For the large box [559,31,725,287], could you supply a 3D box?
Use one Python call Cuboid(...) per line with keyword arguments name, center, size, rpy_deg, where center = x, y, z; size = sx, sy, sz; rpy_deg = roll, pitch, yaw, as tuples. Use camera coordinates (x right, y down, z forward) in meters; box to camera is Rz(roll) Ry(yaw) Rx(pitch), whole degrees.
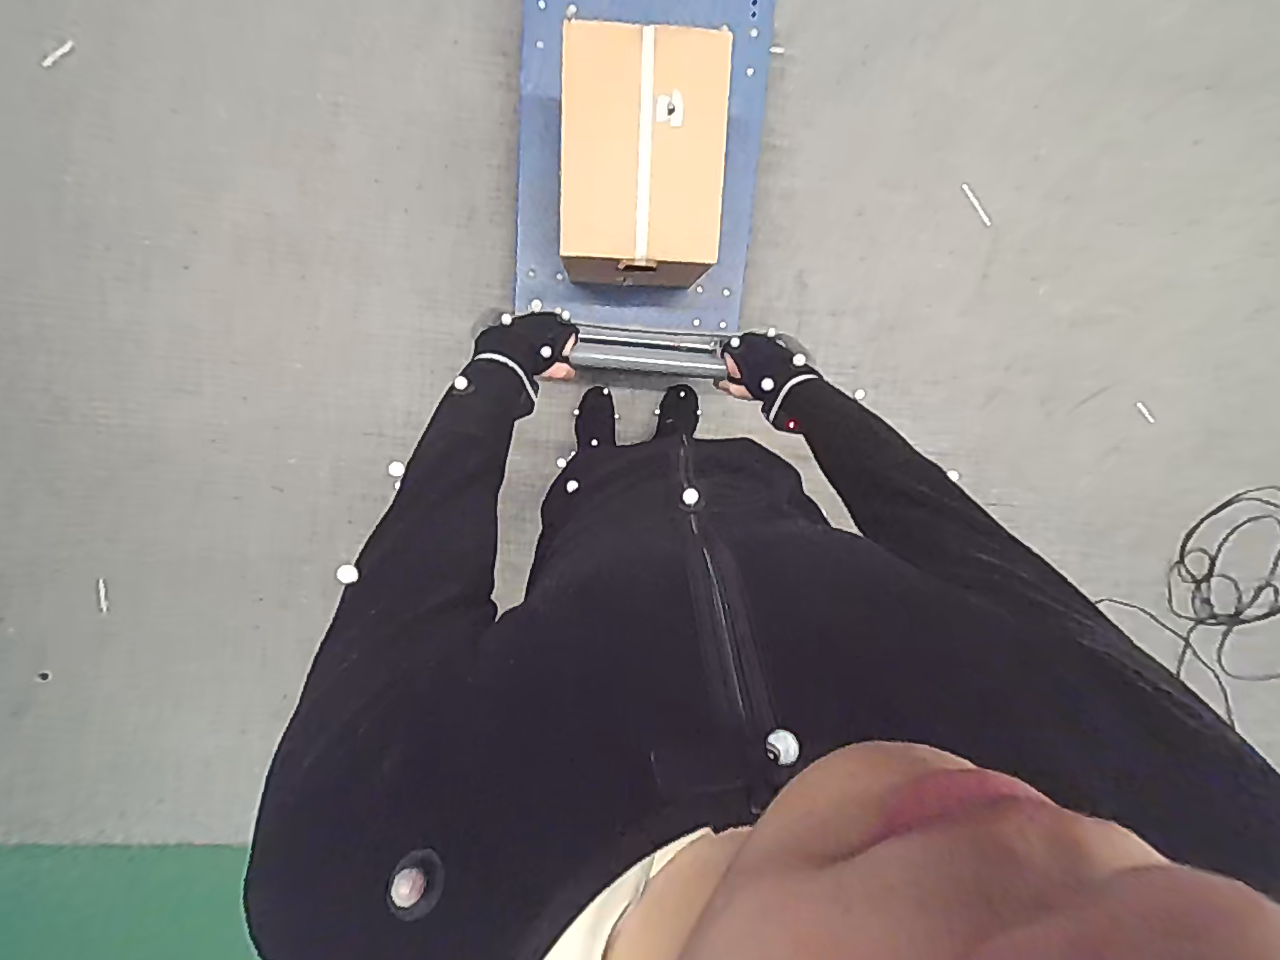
Cuboid(name="large box", center=(-0.005, -0.653, 1.180), size=(0.320, 0.320, 0.408), rpy_deg=(1, 101, -4))
